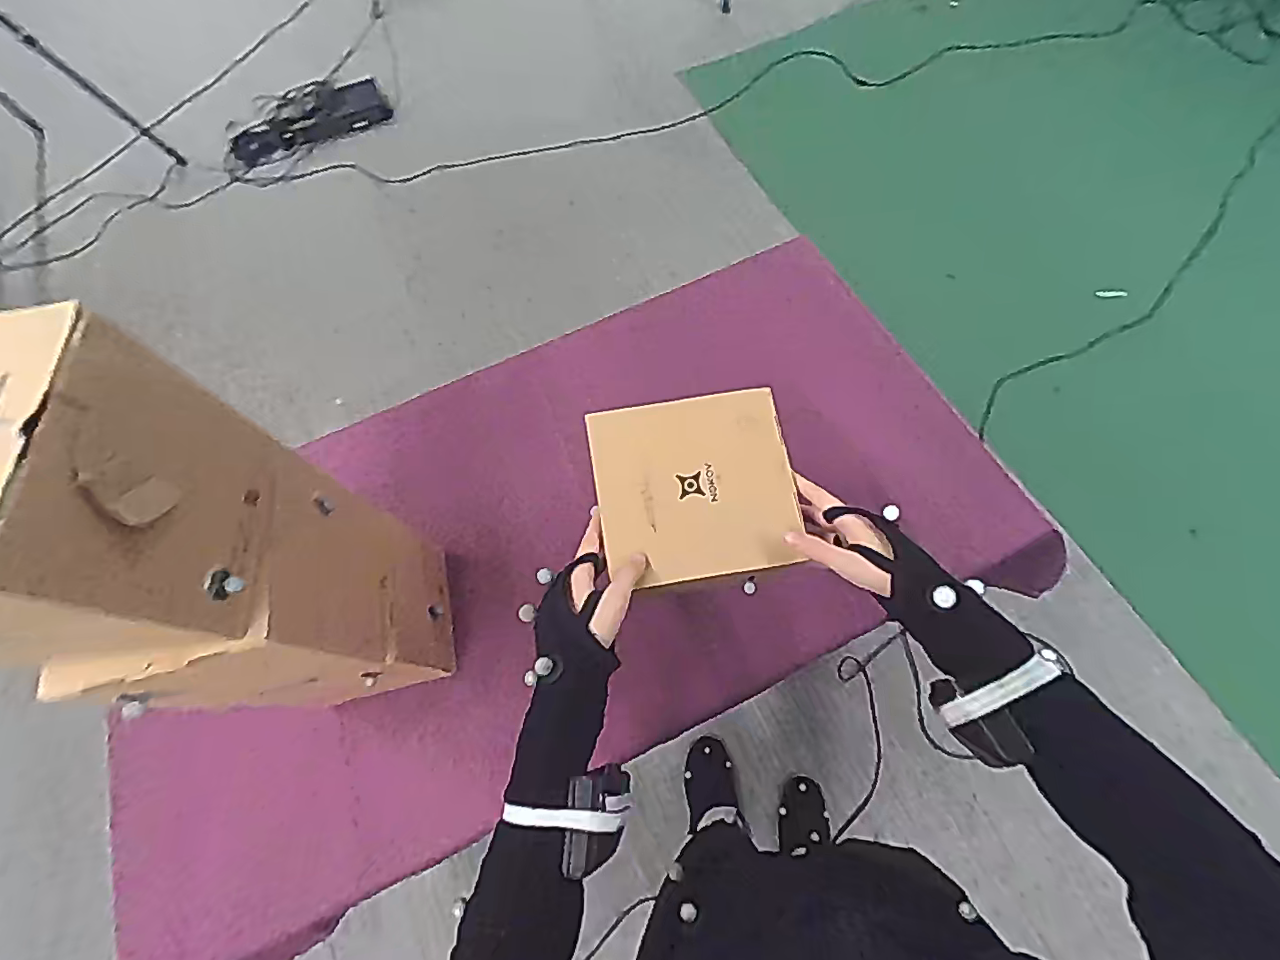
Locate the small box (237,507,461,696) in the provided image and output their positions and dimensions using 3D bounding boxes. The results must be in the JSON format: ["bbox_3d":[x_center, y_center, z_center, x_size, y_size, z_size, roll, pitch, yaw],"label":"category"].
[{"bbox_3d":[-0.341,0.156,0.659,0.179,0.176,0.168,-16,66,-2],"label":"small box"}]

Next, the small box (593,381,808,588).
[{"bbox_3d":[0.053,0.016,0.566,0.179,0.176,0.168,-8,74,0],"label":"small box"}]
